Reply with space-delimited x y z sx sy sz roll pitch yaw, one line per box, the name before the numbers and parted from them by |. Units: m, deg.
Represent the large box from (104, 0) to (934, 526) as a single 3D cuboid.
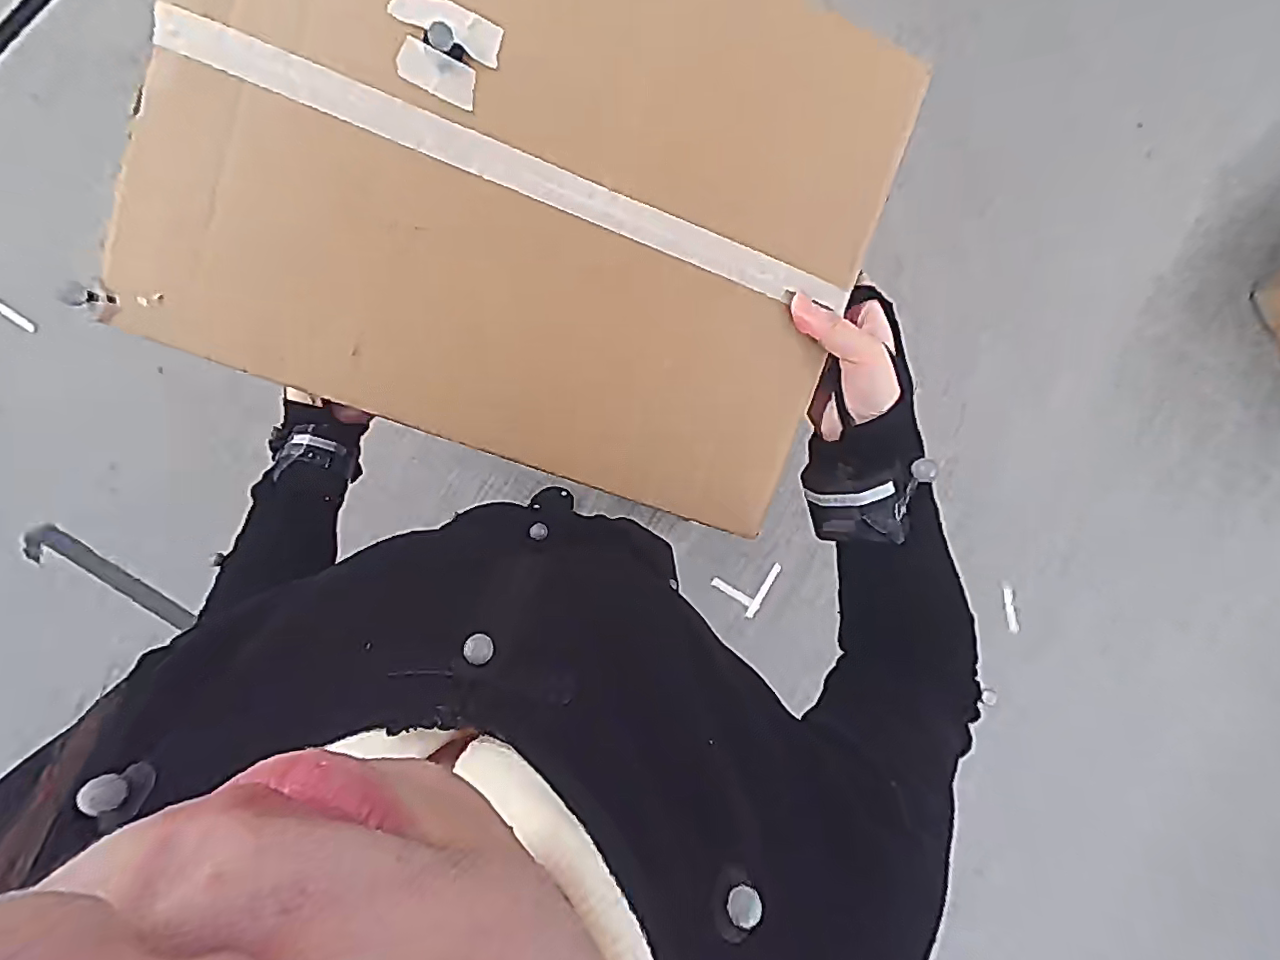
large box | -0.073 -0.191 0.452 0.408 0.320 0.320 18 95 -9
